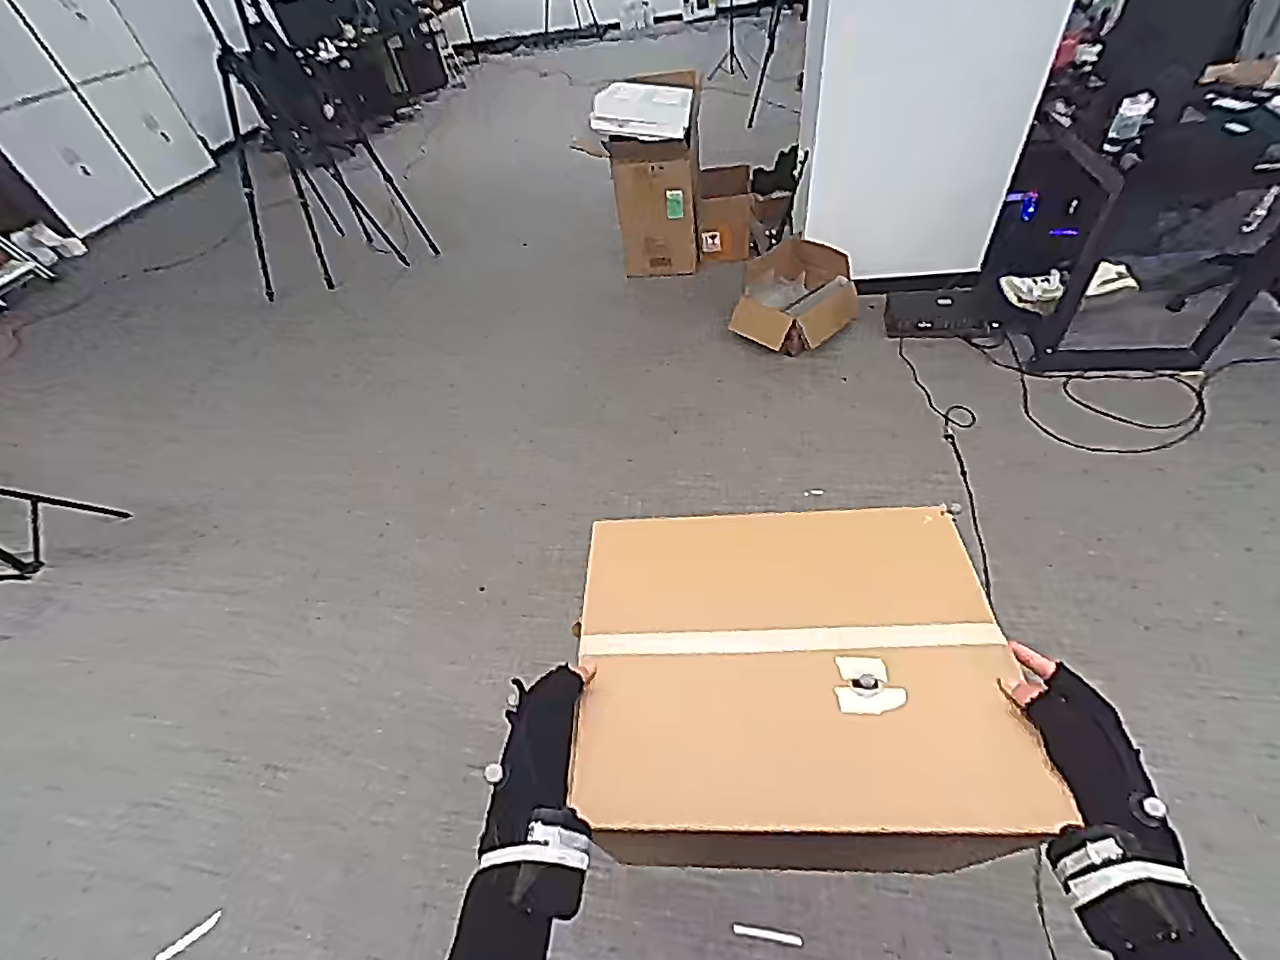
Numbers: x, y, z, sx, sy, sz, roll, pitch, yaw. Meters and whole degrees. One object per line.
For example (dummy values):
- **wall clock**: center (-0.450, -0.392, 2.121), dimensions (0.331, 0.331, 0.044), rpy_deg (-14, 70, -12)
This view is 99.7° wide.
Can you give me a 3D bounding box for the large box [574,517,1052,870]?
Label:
- **large box**: center (0.153, 0.267, 0.658), dimensions (0.408, 0.320, 0.320), rpy_deg (-3, 50, 5)
